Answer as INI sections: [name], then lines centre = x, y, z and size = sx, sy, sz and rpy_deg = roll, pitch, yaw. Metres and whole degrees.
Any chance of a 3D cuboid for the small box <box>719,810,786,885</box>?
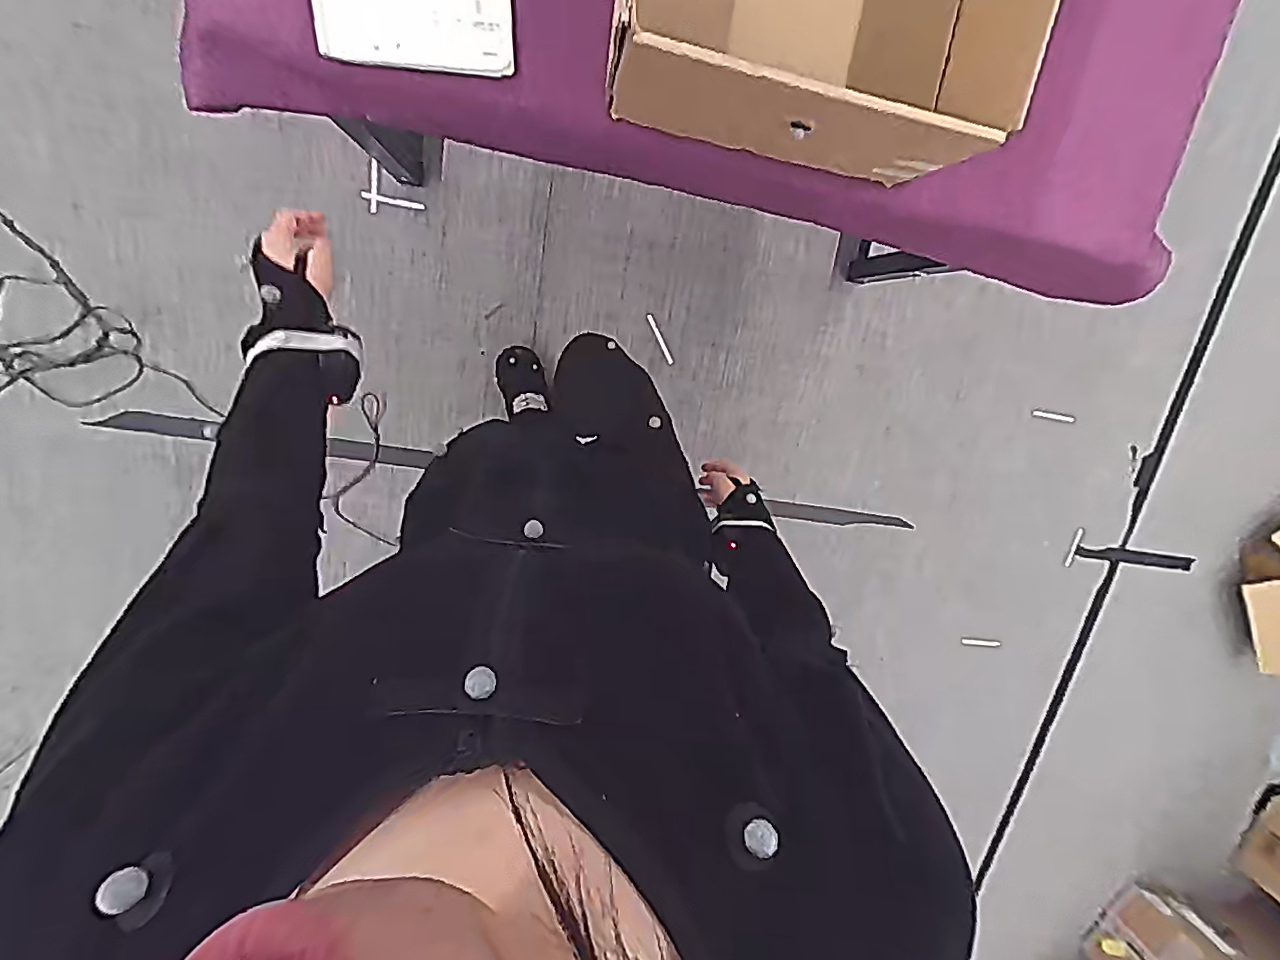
[small box]
centre = 0.390, 1.301, 1.879
size = 0.179, 0.176, 0.168
rpy_deg = -29, 109, 2
